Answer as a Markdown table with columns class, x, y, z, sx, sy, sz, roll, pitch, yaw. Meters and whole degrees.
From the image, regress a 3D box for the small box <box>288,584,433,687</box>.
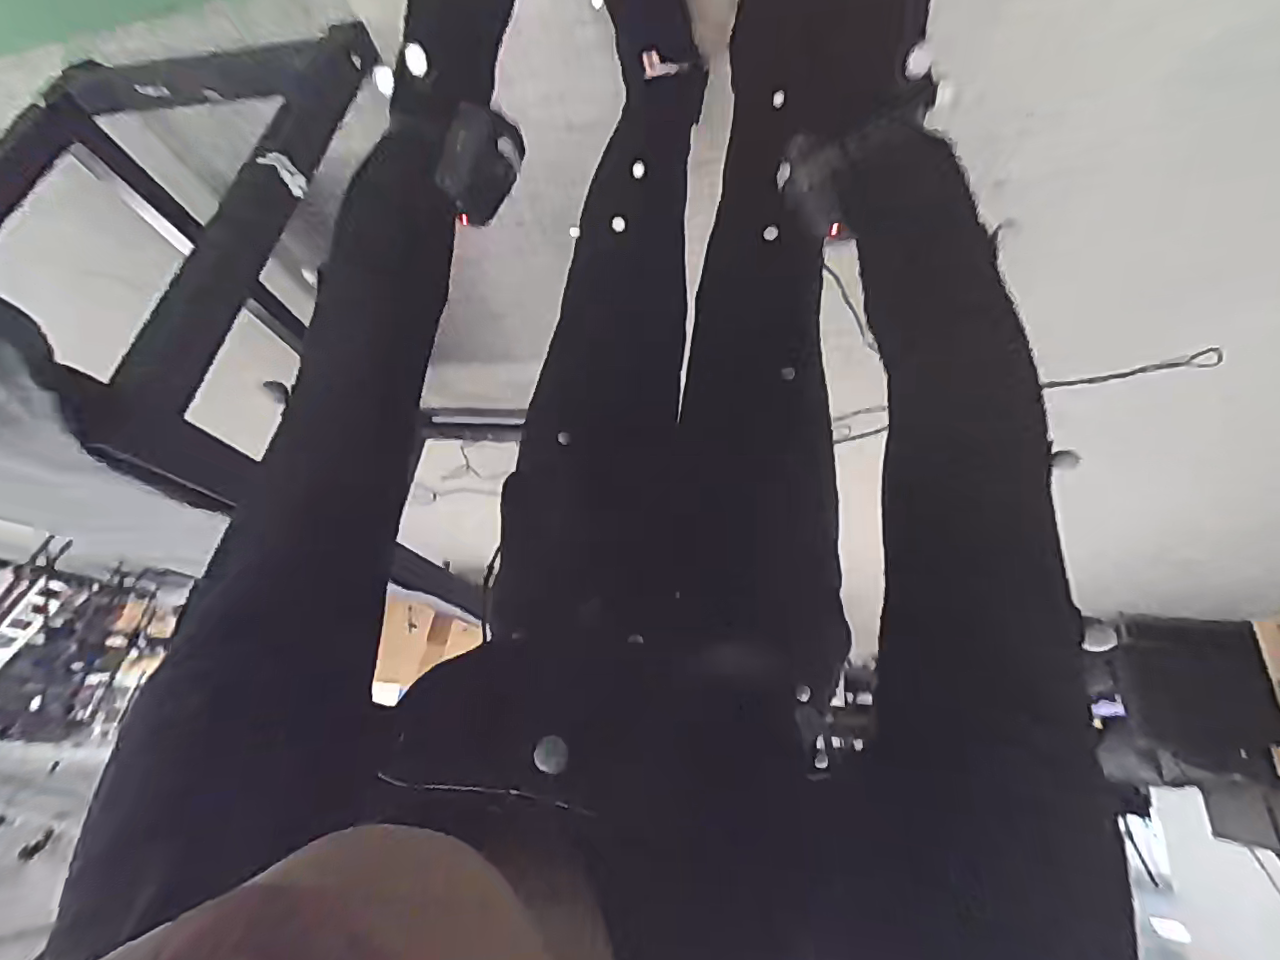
| class | x | y | z | sx | sy | sz | roll | pitch | yaw |
| --- | --- | --- | --- | --- | --- | --- | --- | --- | --- |
| small box | -0.555 | 0.315 | 1.100 | 0.179 | 0.176 | 0.168 | 5 | 156 | 9 |
